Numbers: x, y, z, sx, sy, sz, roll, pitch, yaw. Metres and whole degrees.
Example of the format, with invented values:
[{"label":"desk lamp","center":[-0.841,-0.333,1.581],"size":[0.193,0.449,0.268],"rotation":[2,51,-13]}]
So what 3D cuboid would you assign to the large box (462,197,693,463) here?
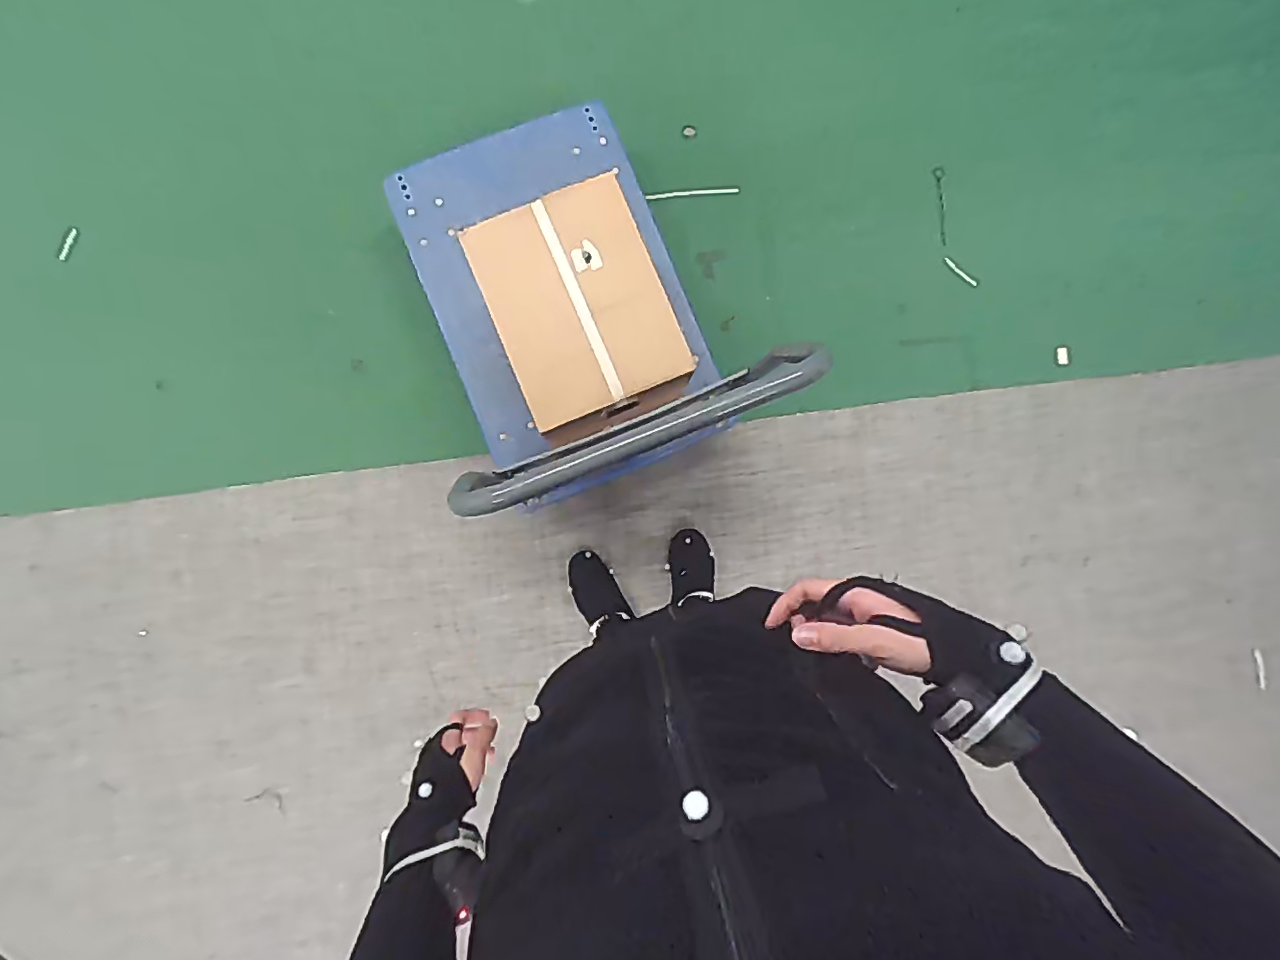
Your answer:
[{"label":"large box","center":[-0.118,-0.289,1.157],"size":[0.320,0.320,0.408],"rotation":[-23,87,-3]}]
